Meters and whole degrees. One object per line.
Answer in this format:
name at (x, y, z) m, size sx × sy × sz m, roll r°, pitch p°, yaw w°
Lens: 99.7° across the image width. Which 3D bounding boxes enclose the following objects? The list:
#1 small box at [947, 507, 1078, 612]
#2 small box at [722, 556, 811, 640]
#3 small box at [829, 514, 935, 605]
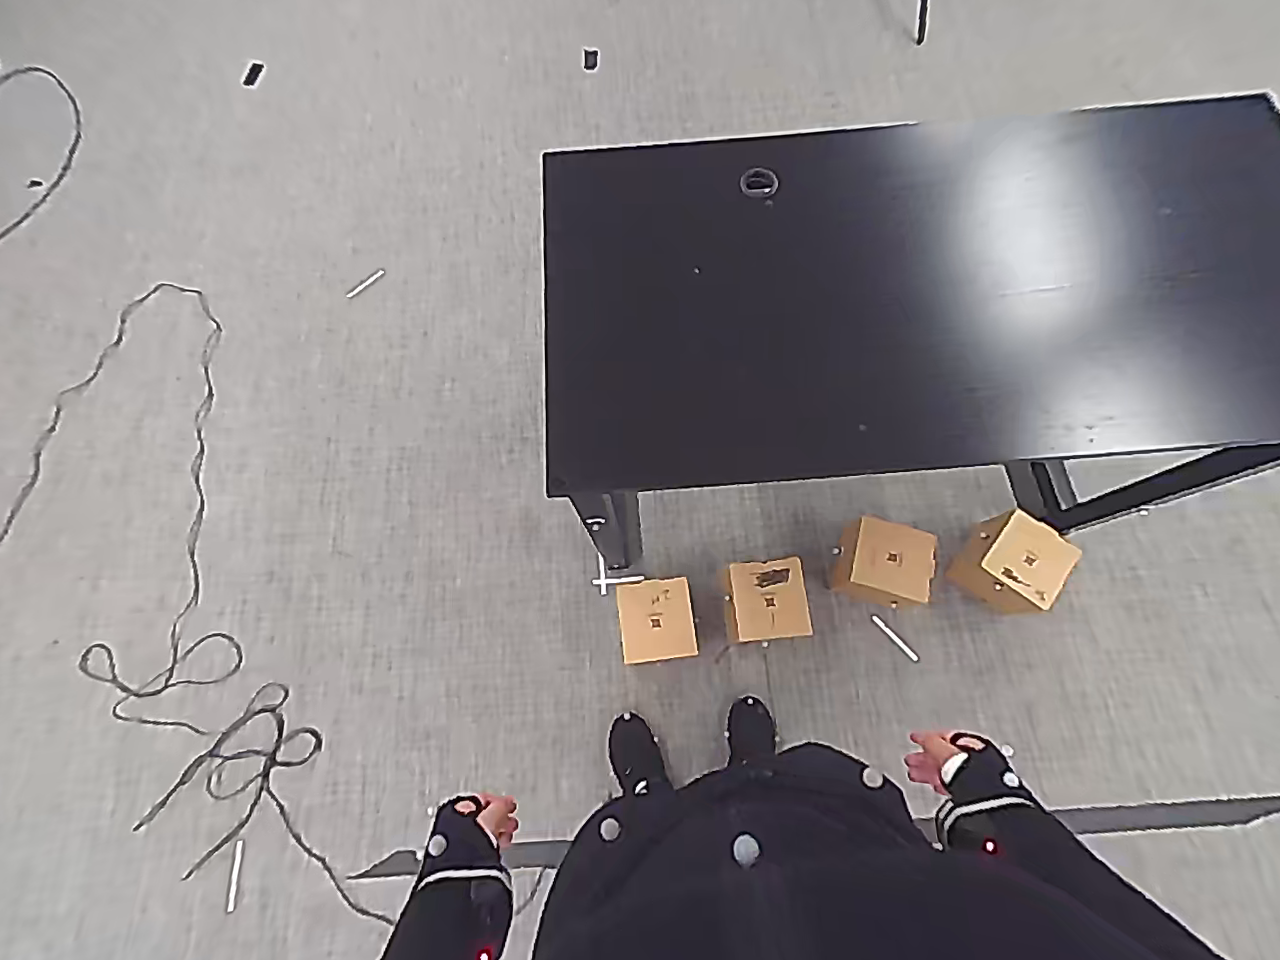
small box at (0.885, 0.197, 1.303) m, size 0.168 × 0.176 × 0.179 m, roll 37°, pitch 77°, yaw 13°
small box at (0.294, 0.288, 1.299) m, size 0.168 × 0.176 × 0.179 m, roll -6°, pitch 73°, yaw 1°
small box at (0.582, 0.201, 1.317) m, size 0.179 × 0.176 × 0.168 m, roll 15°, pitch 72°, yaw 8°
